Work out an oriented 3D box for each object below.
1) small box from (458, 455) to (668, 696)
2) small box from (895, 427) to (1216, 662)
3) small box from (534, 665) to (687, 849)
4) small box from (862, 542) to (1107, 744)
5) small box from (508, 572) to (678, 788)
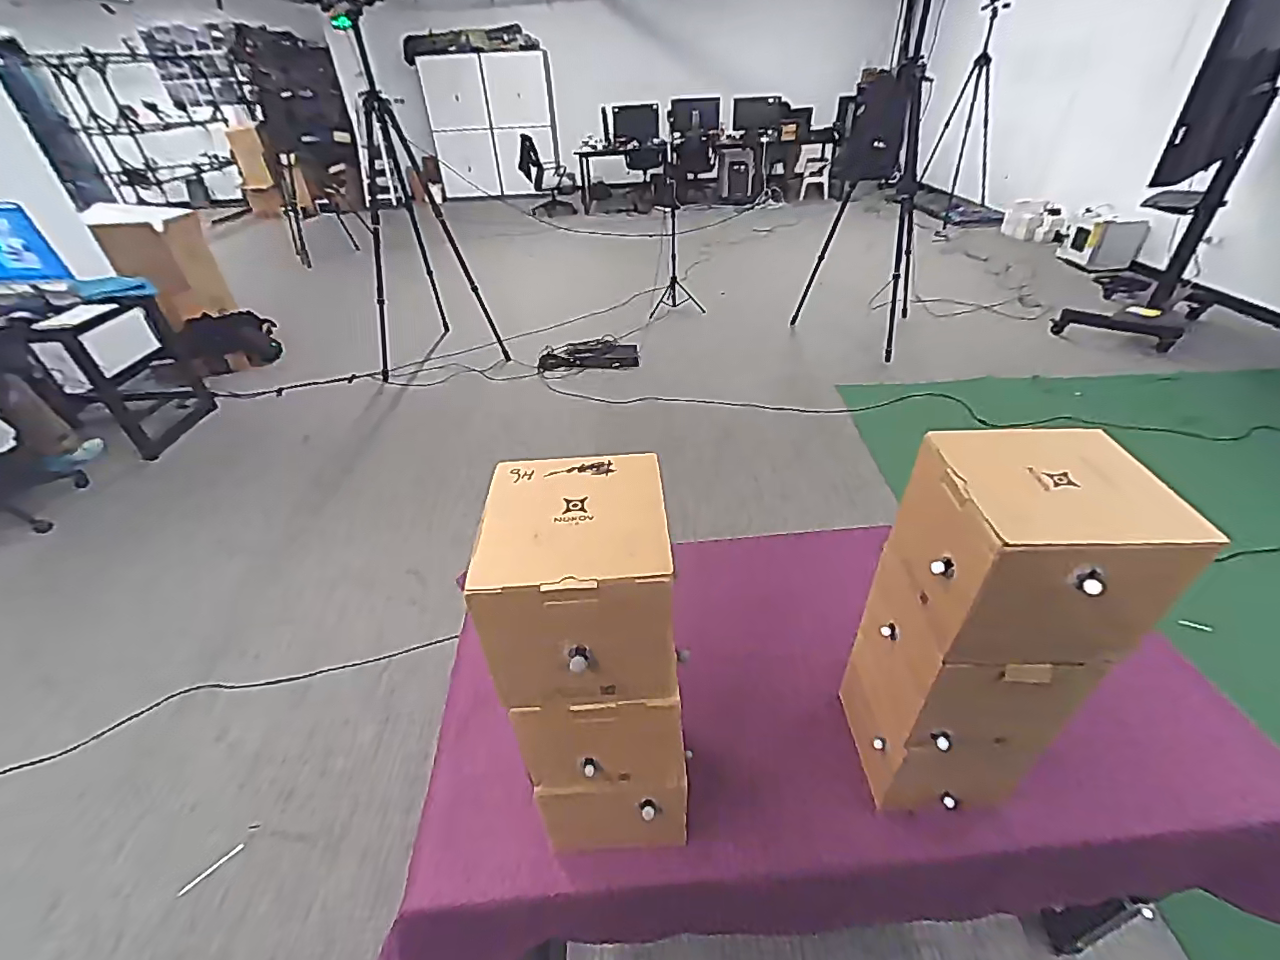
[{"bbox_3d":[-0.061,0.097,0.535,0.168,0.176,0.179,-4,38,-1],"label":"small box"},{"bbox_3d":[0.372,0.063,0.536,0.179,0.176,0.168,-1,38,4],"label":"small box"},{"bbox_3d":[-0.031,0.366,0.720,0.179,0.176,0.168,-4,36,1],"label":"small box"},{"bbox_3d":[0.380,0.190,0.638,0.168,0.176,0.179,-2,36,3],"label":"small box"},{"bbox_3d":[-0.044,0.230,0.630,0.168,0.176,0.179,-3,37,1],"label":"small box"}]
